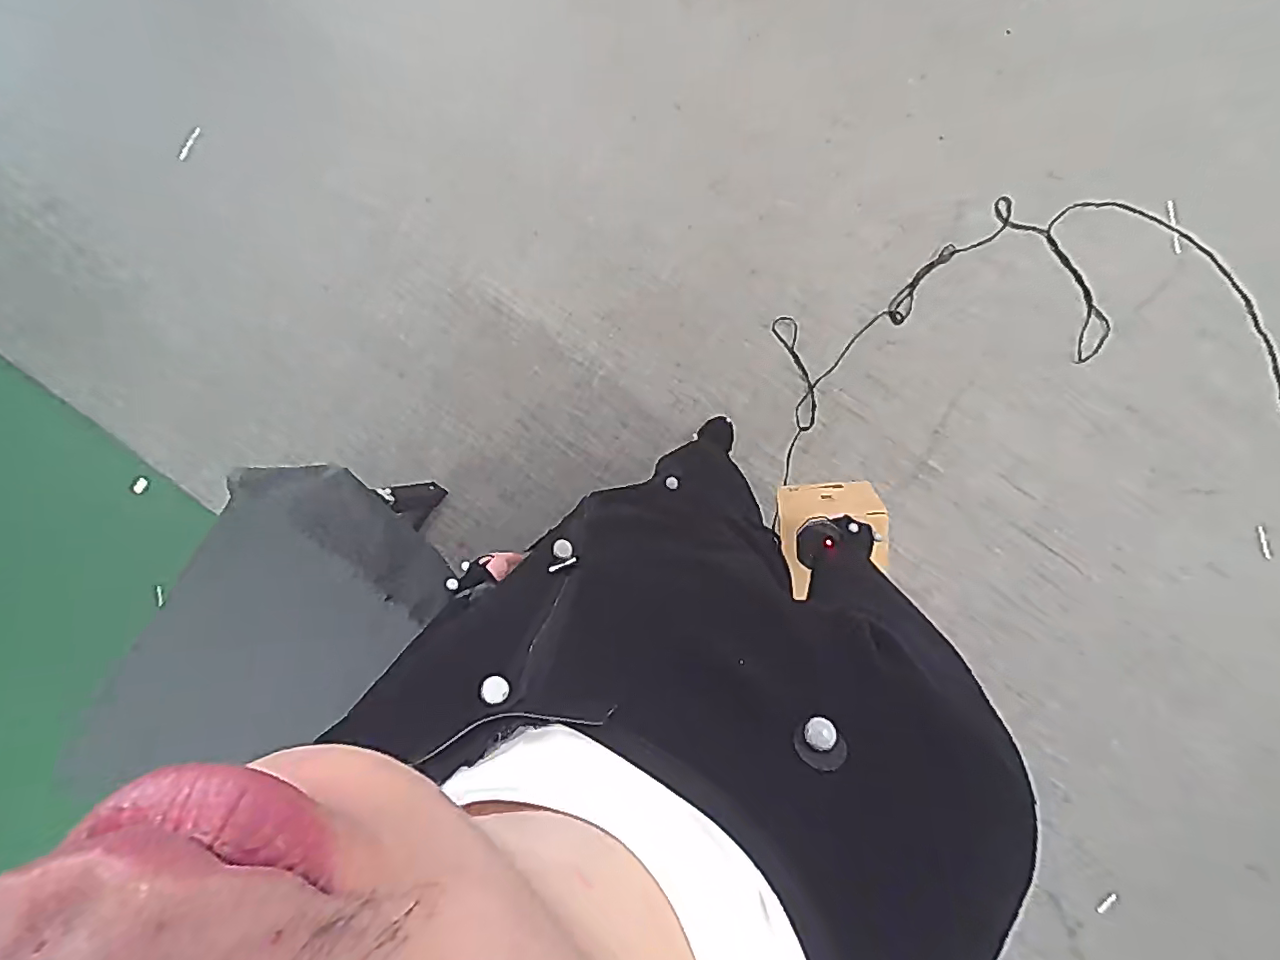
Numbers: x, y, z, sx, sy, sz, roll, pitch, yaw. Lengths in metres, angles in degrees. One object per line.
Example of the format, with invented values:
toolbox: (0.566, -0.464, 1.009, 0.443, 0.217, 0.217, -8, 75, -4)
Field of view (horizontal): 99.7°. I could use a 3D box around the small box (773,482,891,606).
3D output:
small box: (0.330, 0.113, 0.947, 0.168, 0.179, 0.176, -6, 102, 11)
